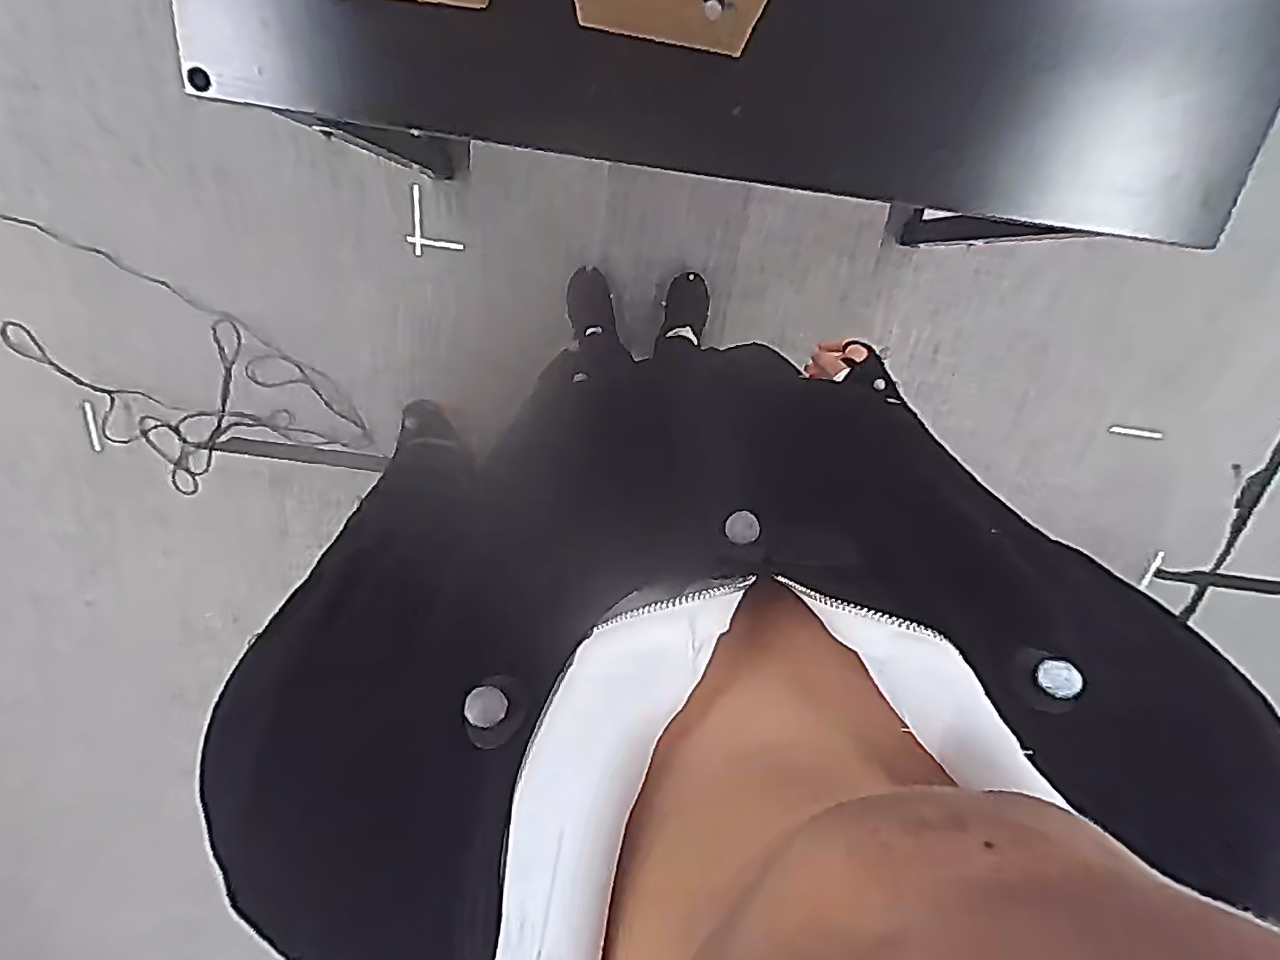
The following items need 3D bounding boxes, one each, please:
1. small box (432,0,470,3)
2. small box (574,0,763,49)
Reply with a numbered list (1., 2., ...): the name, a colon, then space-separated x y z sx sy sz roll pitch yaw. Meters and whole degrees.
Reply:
1. small box: -0.238 -0.546 0.457 0.179 0.176 0.168 5 112 -3
2. small box: 0.033 -0.515 0.474 0.179 0.176 0.168 8 111 -4
